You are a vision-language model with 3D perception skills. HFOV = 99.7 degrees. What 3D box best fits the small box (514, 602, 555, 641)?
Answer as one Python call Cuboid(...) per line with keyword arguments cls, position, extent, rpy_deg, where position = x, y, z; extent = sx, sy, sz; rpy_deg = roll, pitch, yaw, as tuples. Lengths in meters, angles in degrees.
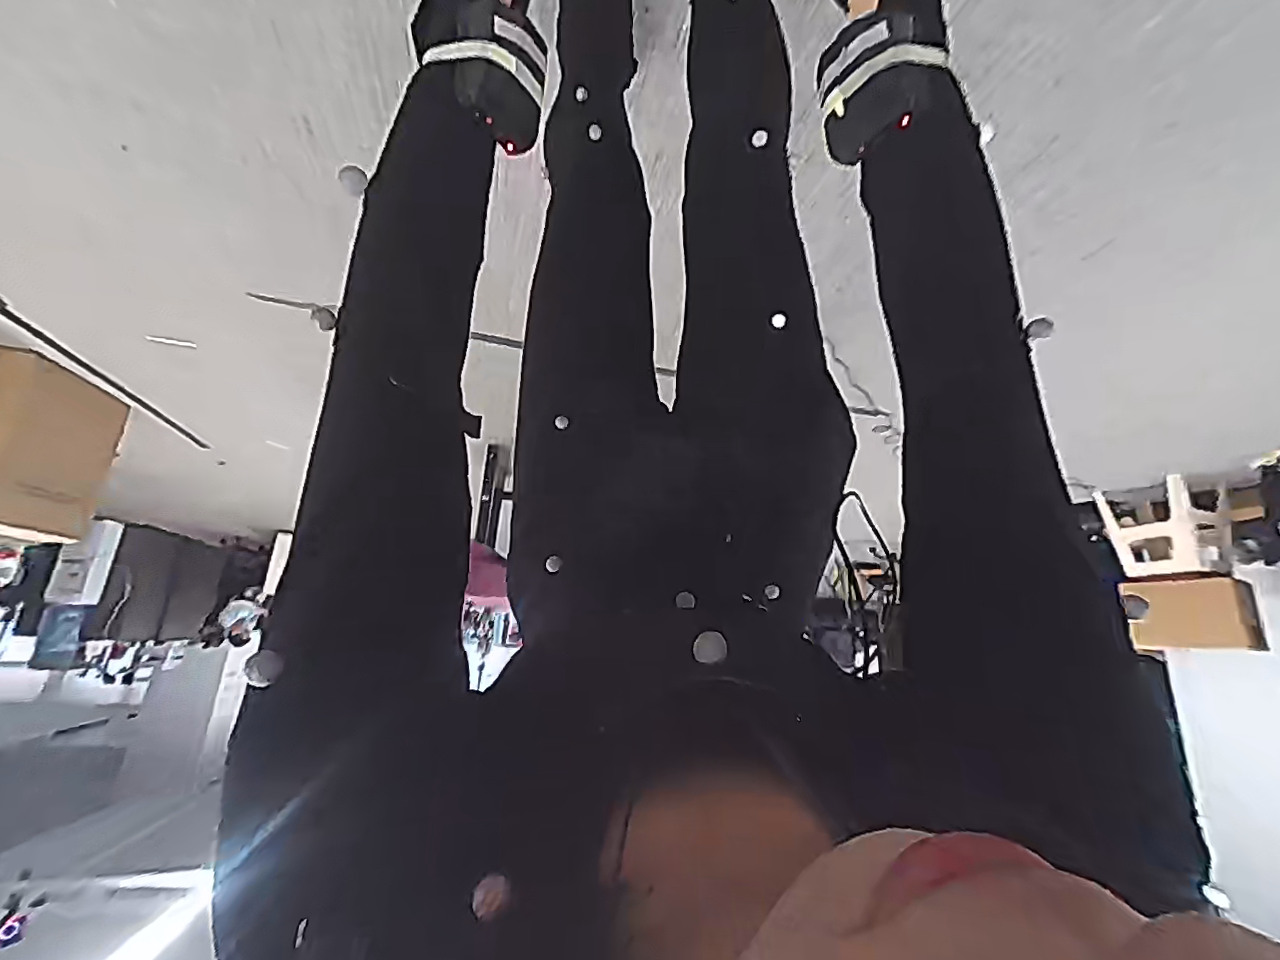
Cuboid(cls="small box", position=(-0.512, 0.688, 2.627), extent=(0.179, 0.176, 0.168), rpy_deg=(6, 163, -8))
